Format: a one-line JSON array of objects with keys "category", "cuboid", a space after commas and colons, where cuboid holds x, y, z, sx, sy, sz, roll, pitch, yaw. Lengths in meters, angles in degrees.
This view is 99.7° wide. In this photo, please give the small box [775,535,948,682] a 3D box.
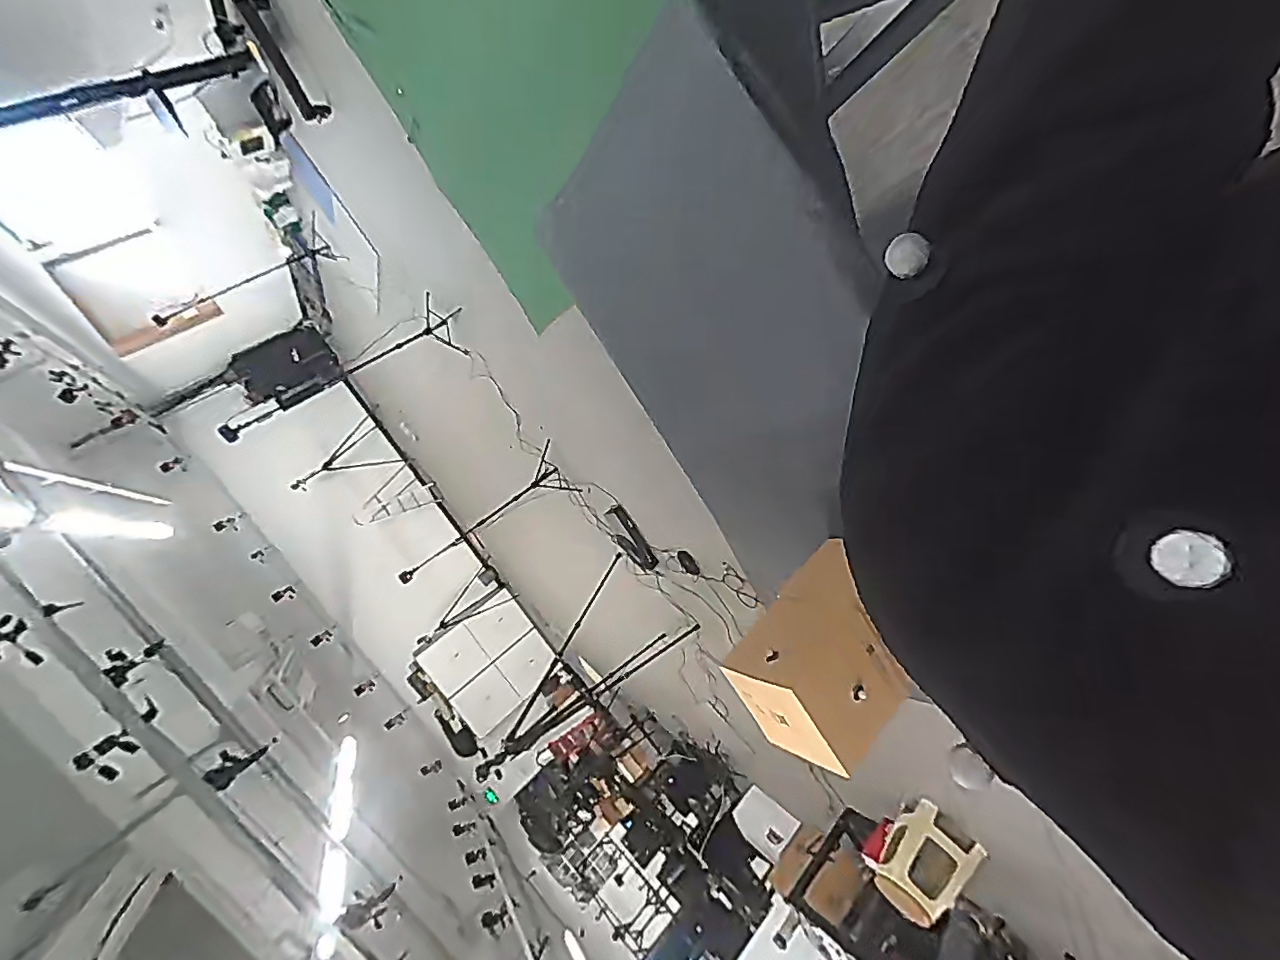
[{"category": "small box", "cuboid": [0.373, 0.205, 0.917, 0.168, 0.176, 0.179, 56, 155, -9]}]

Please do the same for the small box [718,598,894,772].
[{"category": "small box", "cuboid": [0.263, 0.303, 0.841, 0.168, 0.176, 0.179, 57, 154, -10]}]
